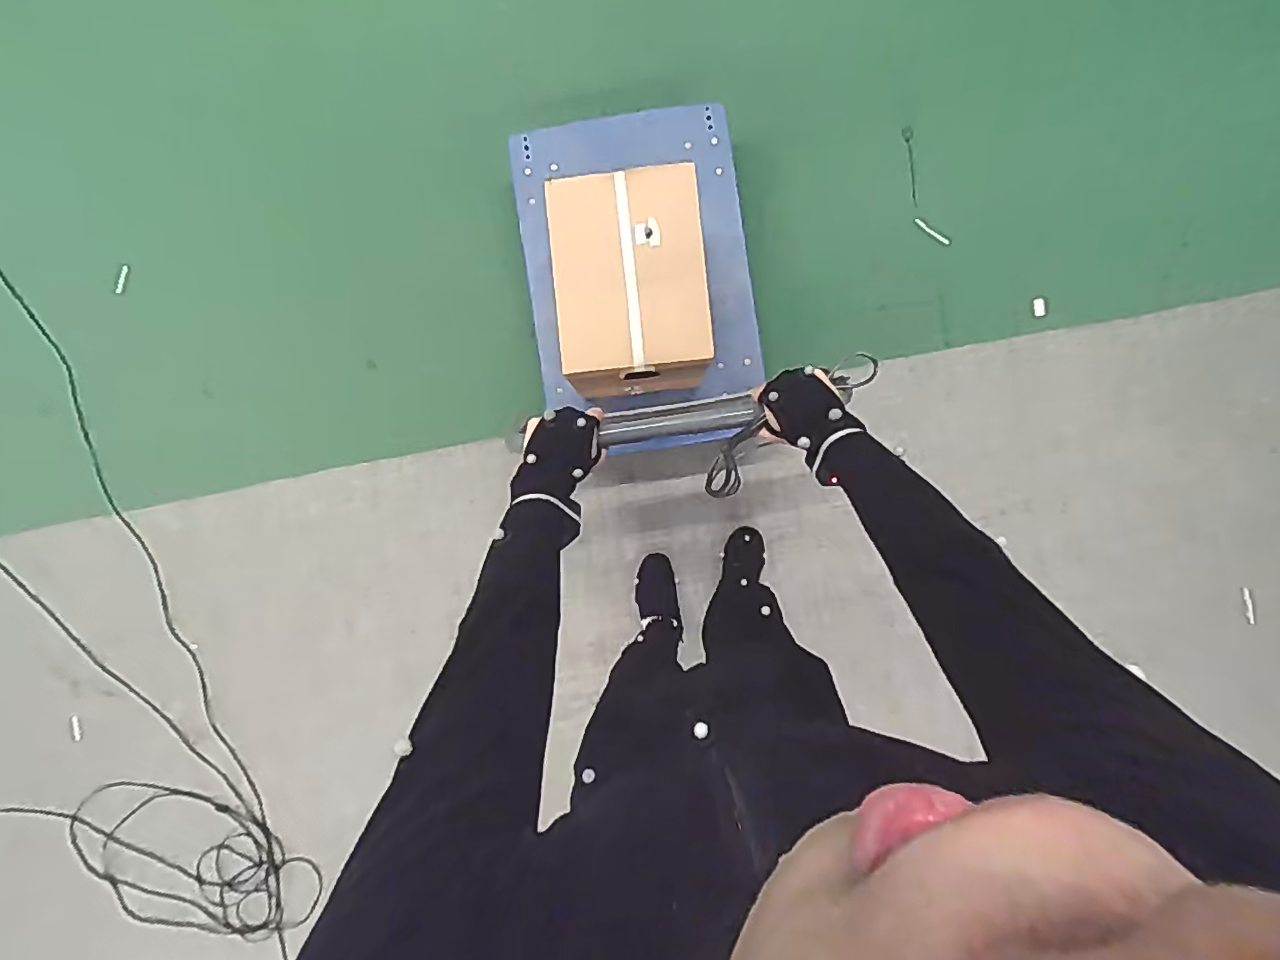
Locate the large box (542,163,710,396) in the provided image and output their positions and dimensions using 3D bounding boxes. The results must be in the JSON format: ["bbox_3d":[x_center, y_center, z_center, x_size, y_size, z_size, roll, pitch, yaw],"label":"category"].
[{"bbox_3d":[-0.024,-0.431,1.252,0.320,0.320,0.408,-6,89,1],"label":"large box"}]
